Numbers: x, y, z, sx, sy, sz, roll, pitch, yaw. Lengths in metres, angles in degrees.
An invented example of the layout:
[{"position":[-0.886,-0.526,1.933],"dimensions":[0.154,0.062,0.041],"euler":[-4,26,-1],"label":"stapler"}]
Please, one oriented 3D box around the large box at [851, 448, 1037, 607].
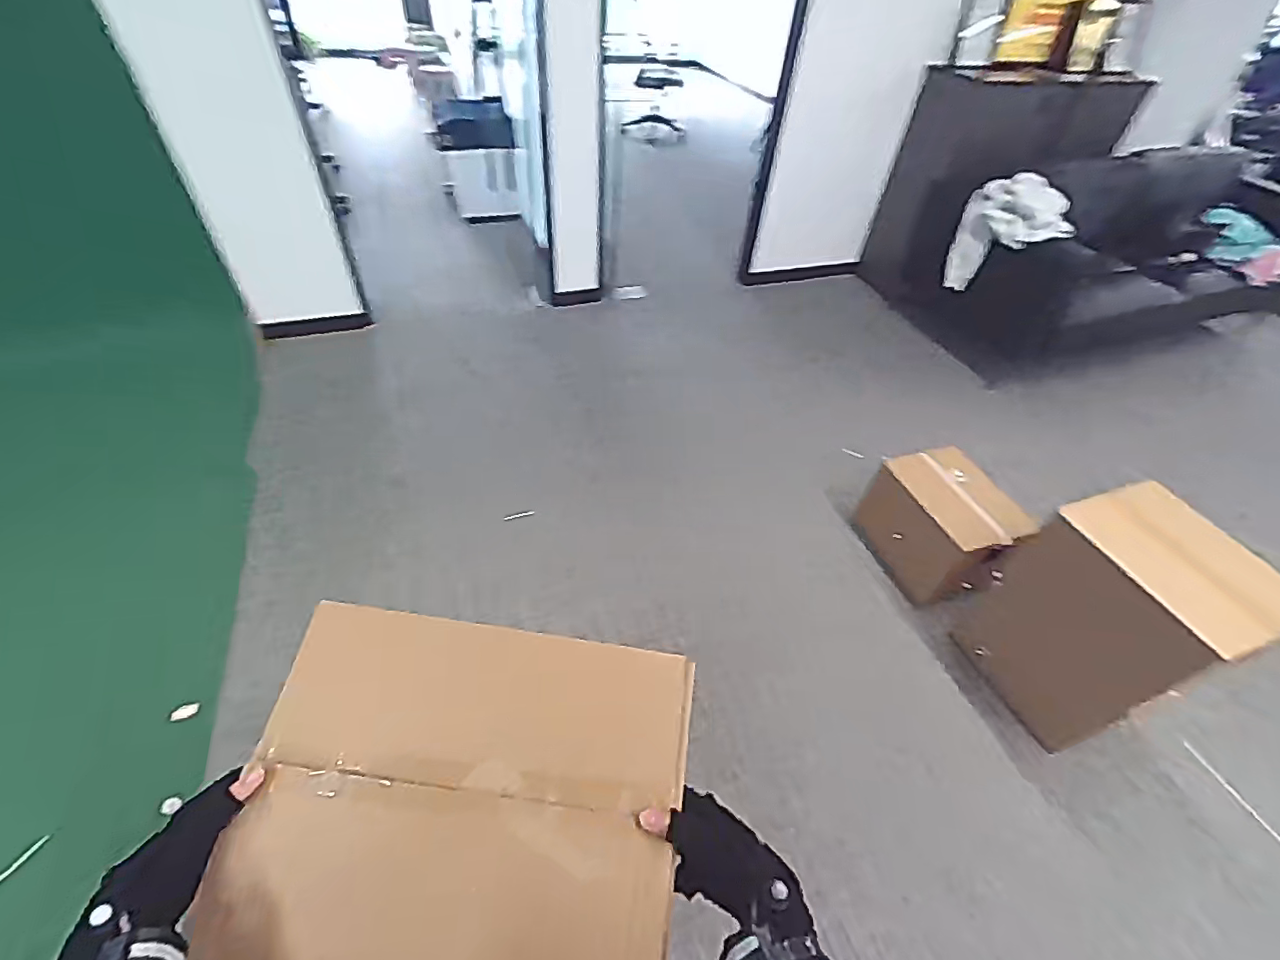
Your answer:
[{"position":[1.006,0.156,1.849],"dimensions":[0.320,0.320,0.408],"euler":[-11,47,-16],"label":"large box"}]
